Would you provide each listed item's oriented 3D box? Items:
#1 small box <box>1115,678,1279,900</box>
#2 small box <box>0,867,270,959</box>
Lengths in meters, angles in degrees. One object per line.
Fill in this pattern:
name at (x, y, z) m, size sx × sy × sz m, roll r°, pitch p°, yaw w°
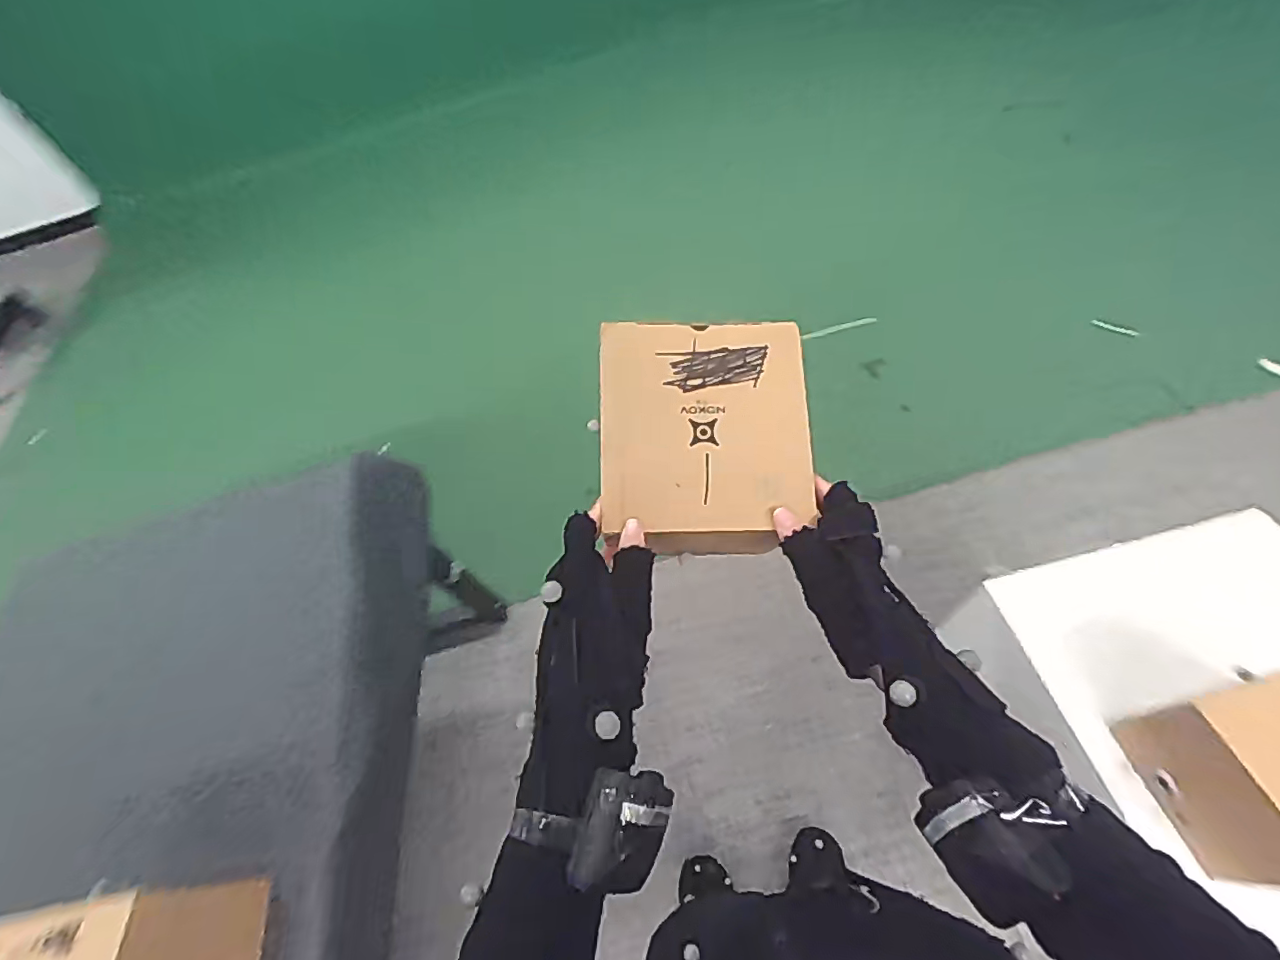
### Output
small box at (0.652, 0.300, 0.544) m, size 0.179 × 0.176 × 0.168 m, roll -19°, pitch 56°, yaw 2°
small box at (-0.494, 0.493, 0.511) m, size 0.168 × 0.176 × 0.179 m, roll -14°, pitch 57°, yaw 4°
